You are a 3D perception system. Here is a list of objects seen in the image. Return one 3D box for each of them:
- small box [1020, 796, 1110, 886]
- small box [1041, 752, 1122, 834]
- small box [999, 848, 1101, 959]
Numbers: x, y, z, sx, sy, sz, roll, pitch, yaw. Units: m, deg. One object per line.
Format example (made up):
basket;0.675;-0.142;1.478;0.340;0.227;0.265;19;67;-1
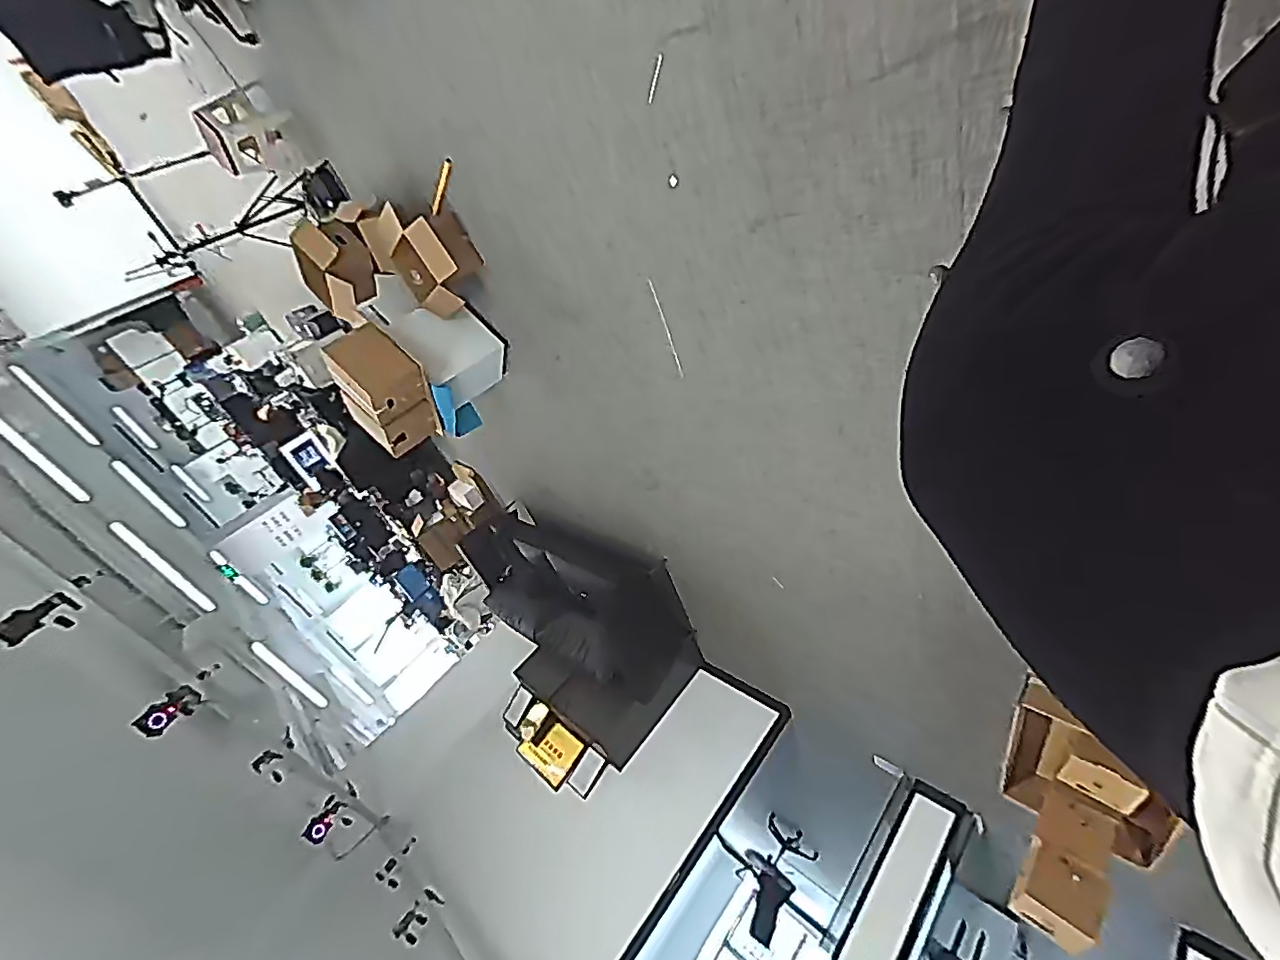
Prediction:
small box;1.242;1.078;1.582;0.168;0.176;0.179;18;137;44
small box;1.349;0.987;1.663;0.168;0.176;0.179;17;137;42
small box;1.138;1.176;1.501;0.168;0.176;0.179;26;142;36
